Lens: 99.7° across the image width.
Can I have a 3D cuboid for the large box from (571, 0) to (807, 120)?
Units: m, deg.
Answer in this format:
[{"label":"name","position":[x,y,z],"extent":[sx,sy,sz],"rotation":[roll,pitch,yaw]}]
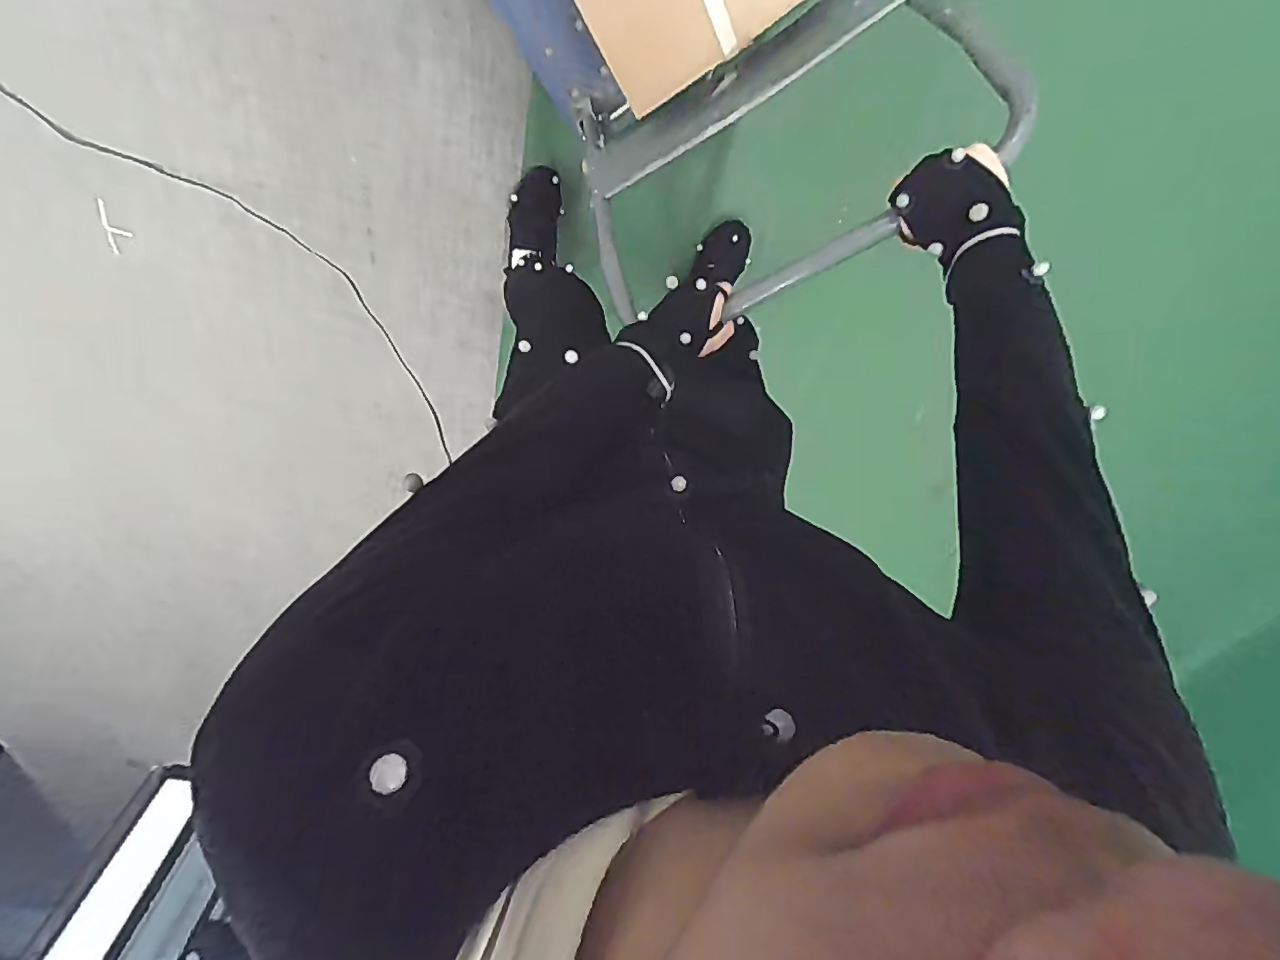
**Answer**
[{"label":"large box","position":[0.017,-0.822,0.738],"extent":[0.320,0.320,0.408],"rotation":[-24,136,21]}]
